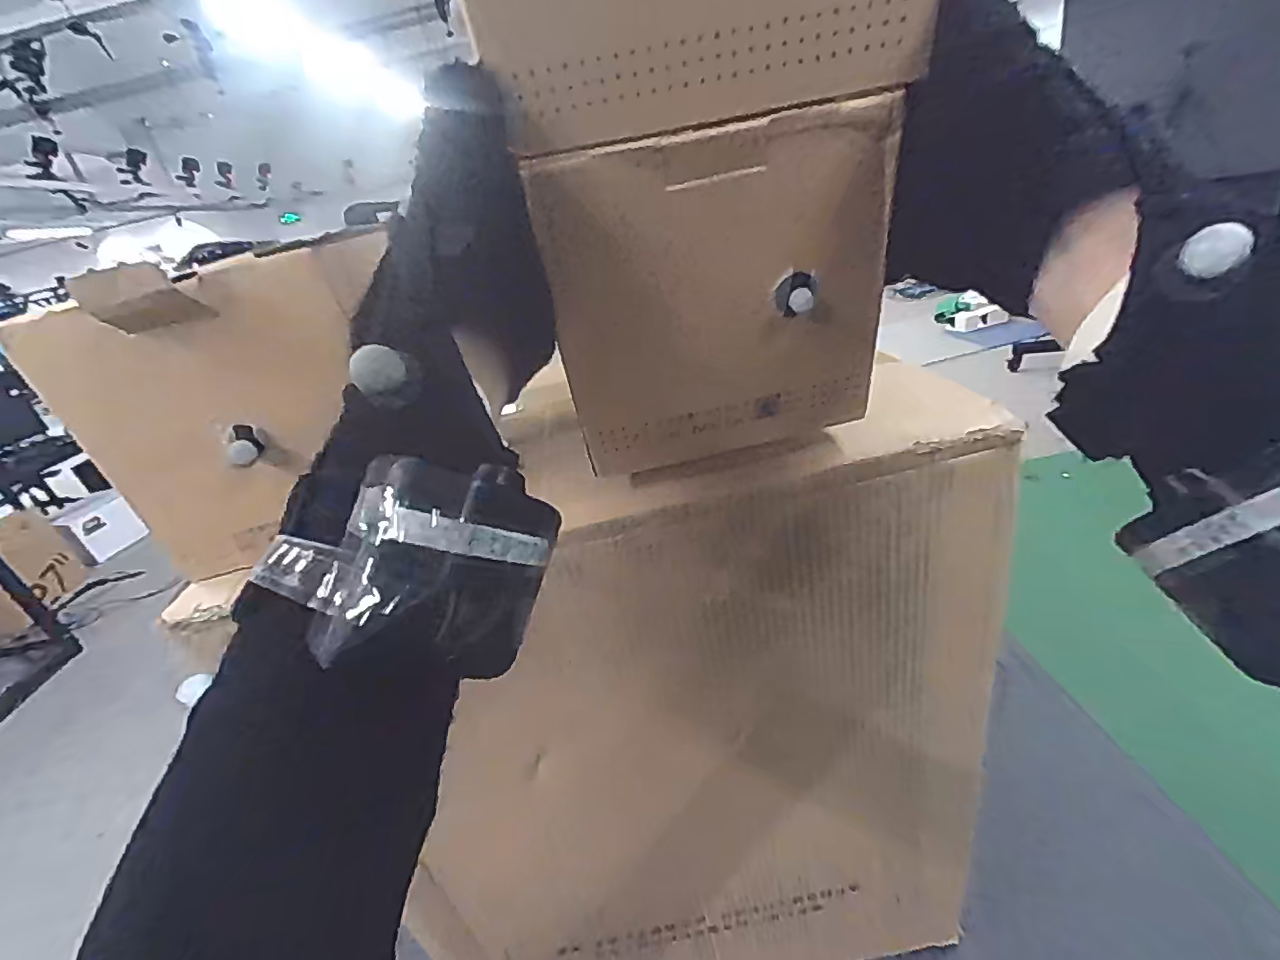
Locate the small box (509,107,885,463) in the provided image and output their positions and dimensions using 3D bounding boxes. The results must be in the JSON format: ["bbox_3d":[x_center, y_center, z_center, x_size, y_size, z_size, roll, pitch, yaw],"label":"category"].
[{"bbox_3d":[0.025,-0.126,0.338,0.168,0.176,0.179,-12,40,-1],"label":"small box"}]

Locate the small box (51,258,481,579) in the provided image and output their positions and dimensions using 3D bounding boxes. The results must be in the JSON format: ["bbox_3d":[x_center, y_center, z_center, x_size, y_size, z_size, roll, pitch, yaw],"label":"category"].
[{"bbox_3d":[-0.229,-0.047,0.398,0.168,0.176,0.179,-16,29,-3],"label":"small box"}]
